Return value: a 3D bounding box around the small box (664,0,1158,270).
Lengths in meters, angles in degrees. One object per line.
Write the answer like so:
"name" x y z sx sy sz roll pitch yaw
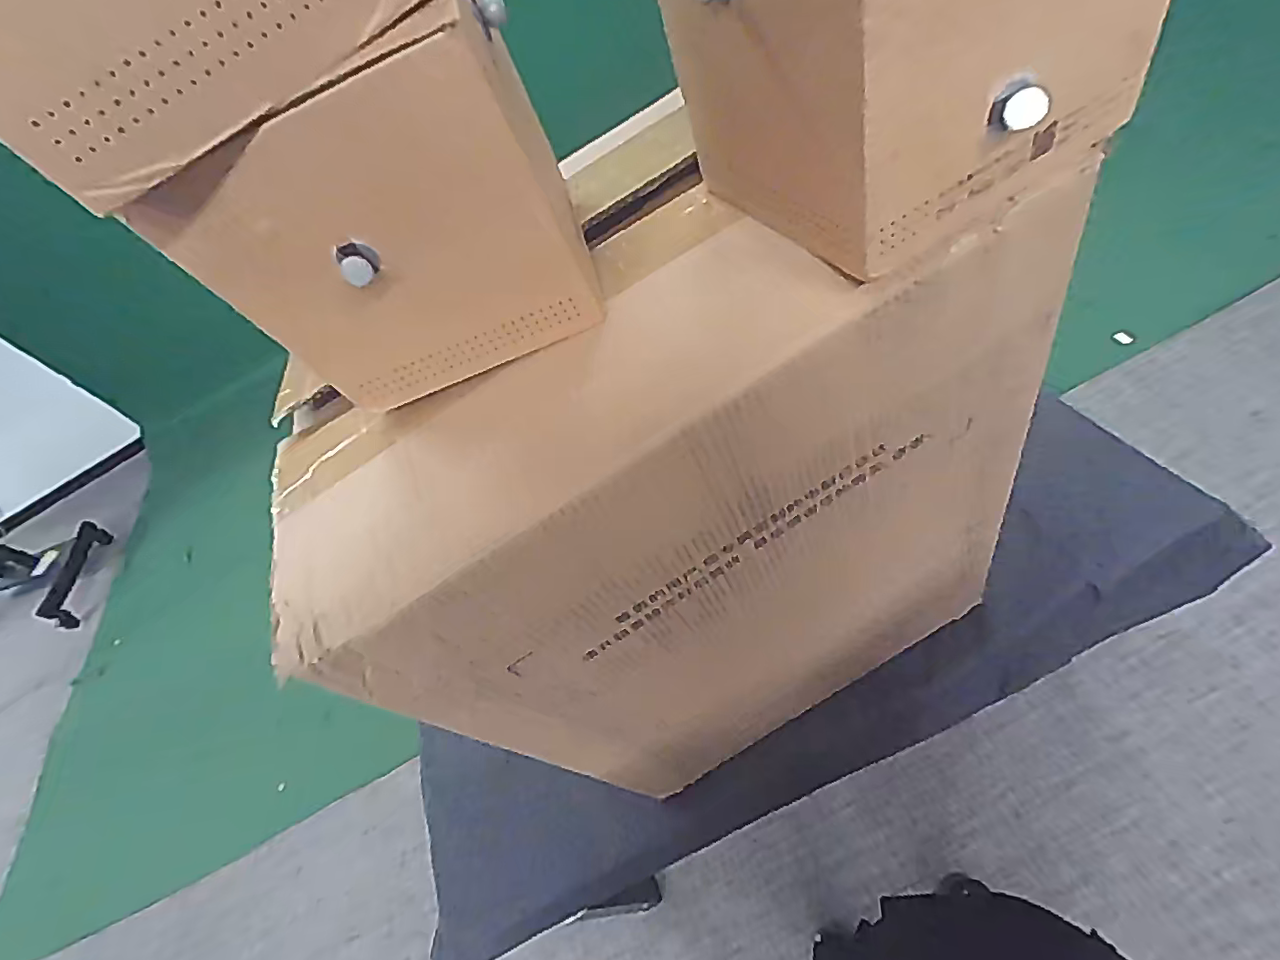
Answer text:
"small box" 0.120 -0.240 0.275 0.168 0.176 0.179 -32 50 0

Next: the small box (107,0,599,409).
"small box" -0.145 -0.171 0.331 0.179 0.176 0.168 -21 58 9
